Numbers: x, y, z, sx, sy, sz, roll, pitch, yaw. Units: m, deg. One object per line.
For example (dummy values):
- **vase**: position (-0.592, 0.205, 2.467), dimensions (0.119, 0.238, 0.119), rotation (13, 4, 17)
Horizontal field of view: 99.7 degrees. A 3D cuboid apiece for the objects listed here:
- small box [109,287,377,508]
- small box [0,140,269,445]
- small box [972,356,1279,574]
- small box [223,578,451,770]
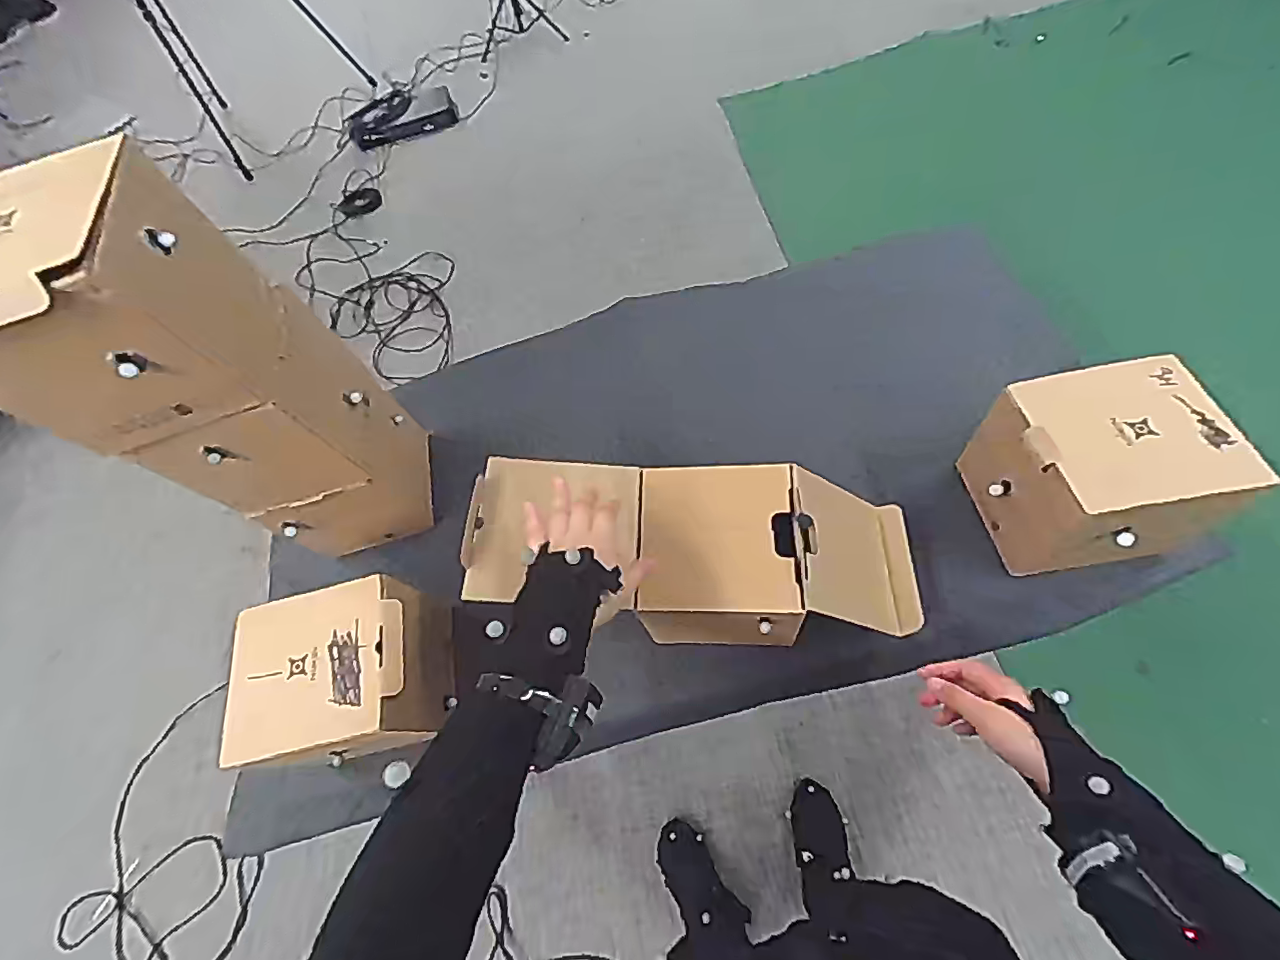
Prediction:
- **small box**: position (-0.435, -0.084, 0.626), dimensions (0.179, 0.176, 0.168), rotation (-15, 64, 2)
- **small box**: position (-0.467, -0.151, 0.482), dimensions (0.168, 0.176, 0.179), rotation (-18, 62, -1)
- **small box**: position (0.504, -0.006, 0.604), dimensions (0.179, 0.176, 0.168), rotation (-11, 59, 6)
- **small box**: position (-0.339, 0.232, 0.644), dimensions (0.179, 0.176, 0.168), rotation (-15, 63, 3)
